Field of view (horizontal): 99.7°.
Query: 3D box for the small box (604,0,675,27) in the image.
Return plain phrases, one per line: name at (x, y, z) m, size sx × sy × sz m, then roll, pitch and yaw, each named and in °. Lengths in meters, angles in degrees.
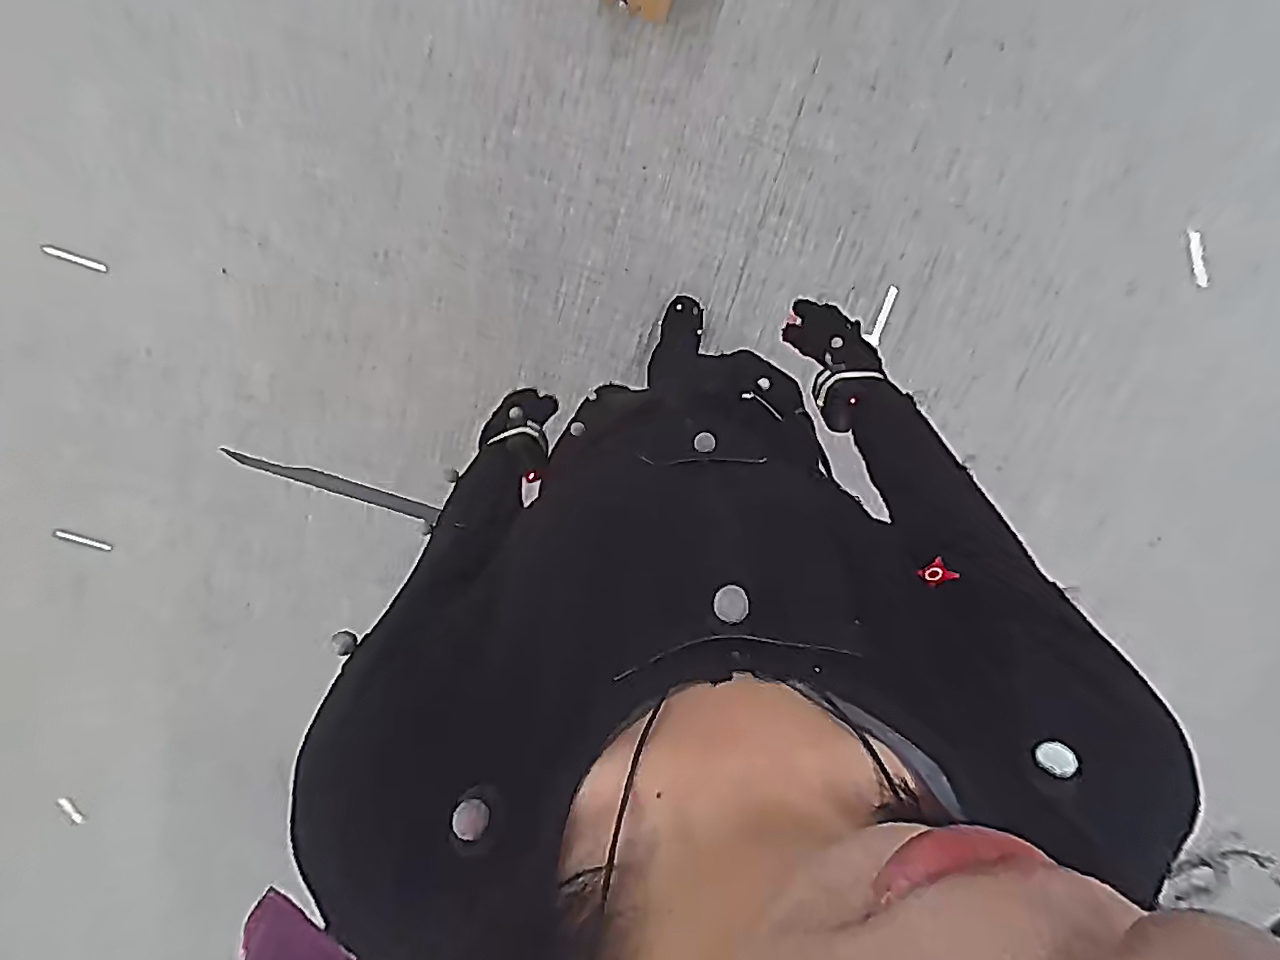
small box at (0.011, -1.108, 1.123) m, size 0.168 × 0.176 × 0.179 m, roll 21°, pitch 107°, yaw -4°
